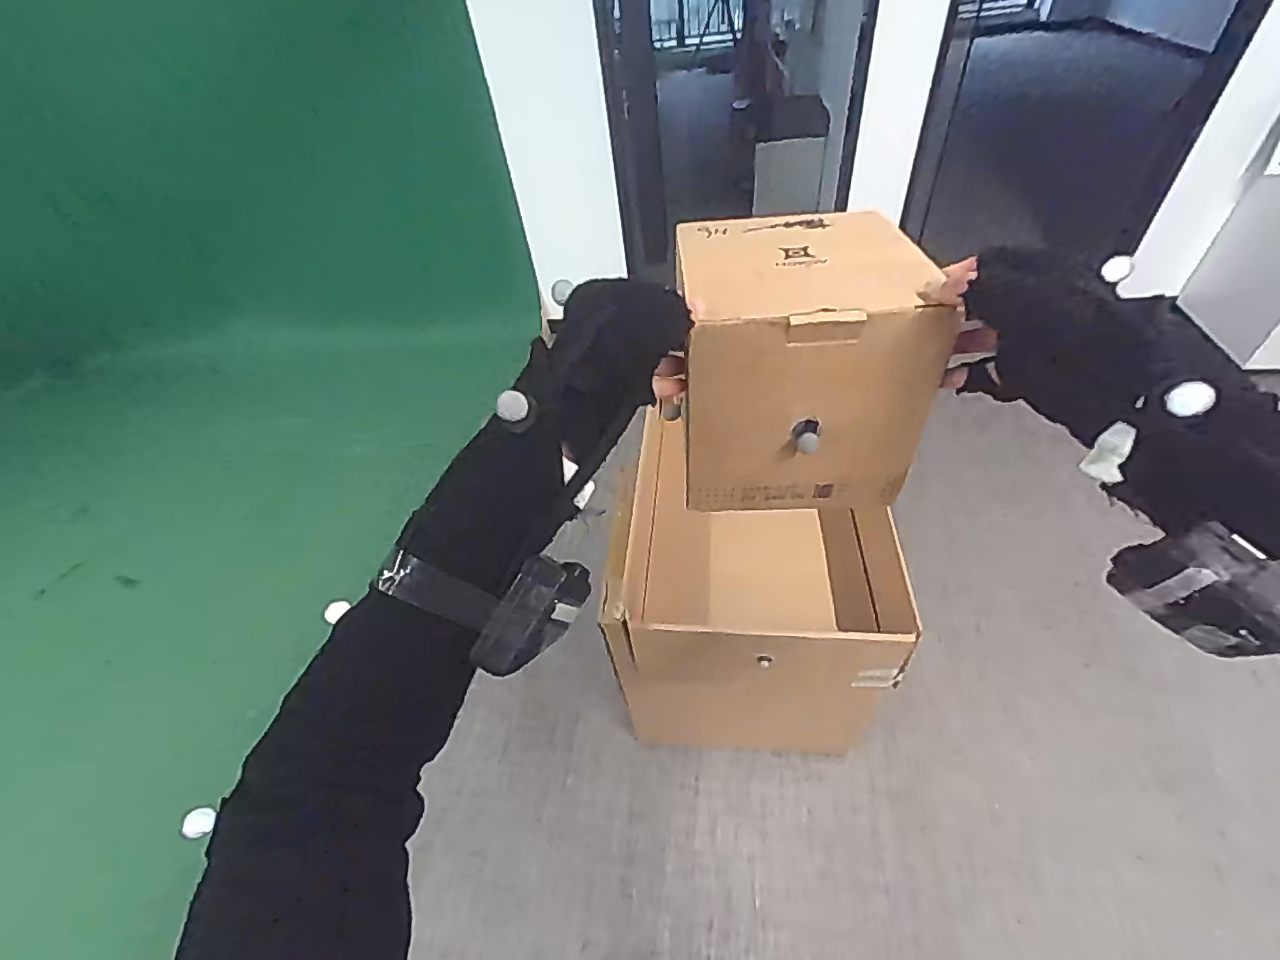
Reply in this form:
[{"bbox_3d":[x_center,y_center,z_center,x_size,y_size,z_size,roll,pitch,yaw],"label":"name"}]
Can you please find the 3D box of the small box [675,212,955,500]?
[{"bbox_3d":[0.115,-0.096,0.439,0.168,0.176,0.179,-2,44,3],"label":"small box"}]
